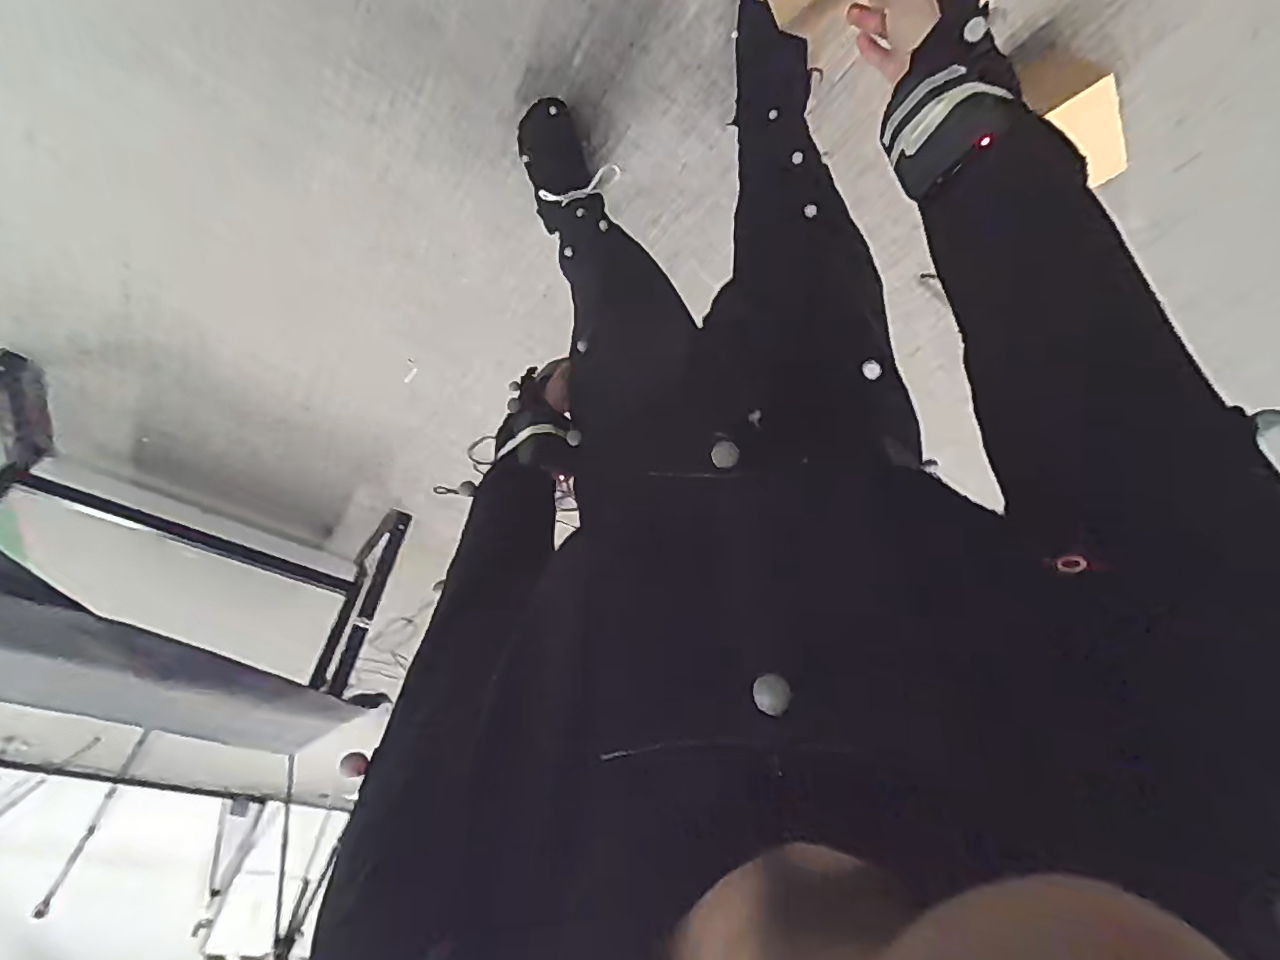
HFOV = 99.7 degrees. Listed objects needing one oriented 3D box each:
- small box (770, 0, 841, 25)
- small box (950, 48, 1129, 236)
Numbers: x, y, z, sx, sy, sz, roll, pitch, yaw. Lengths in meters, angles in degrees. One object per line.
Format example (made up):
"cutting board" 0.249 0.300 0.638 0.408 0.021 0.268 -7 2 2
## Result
"small box" 0.151 -0.491 0.404 0.168 0.176 0.179 -23 112 36
"small box" 0.650 -0.556 0.892 0.179 0.176 0.168 -26 132 32
